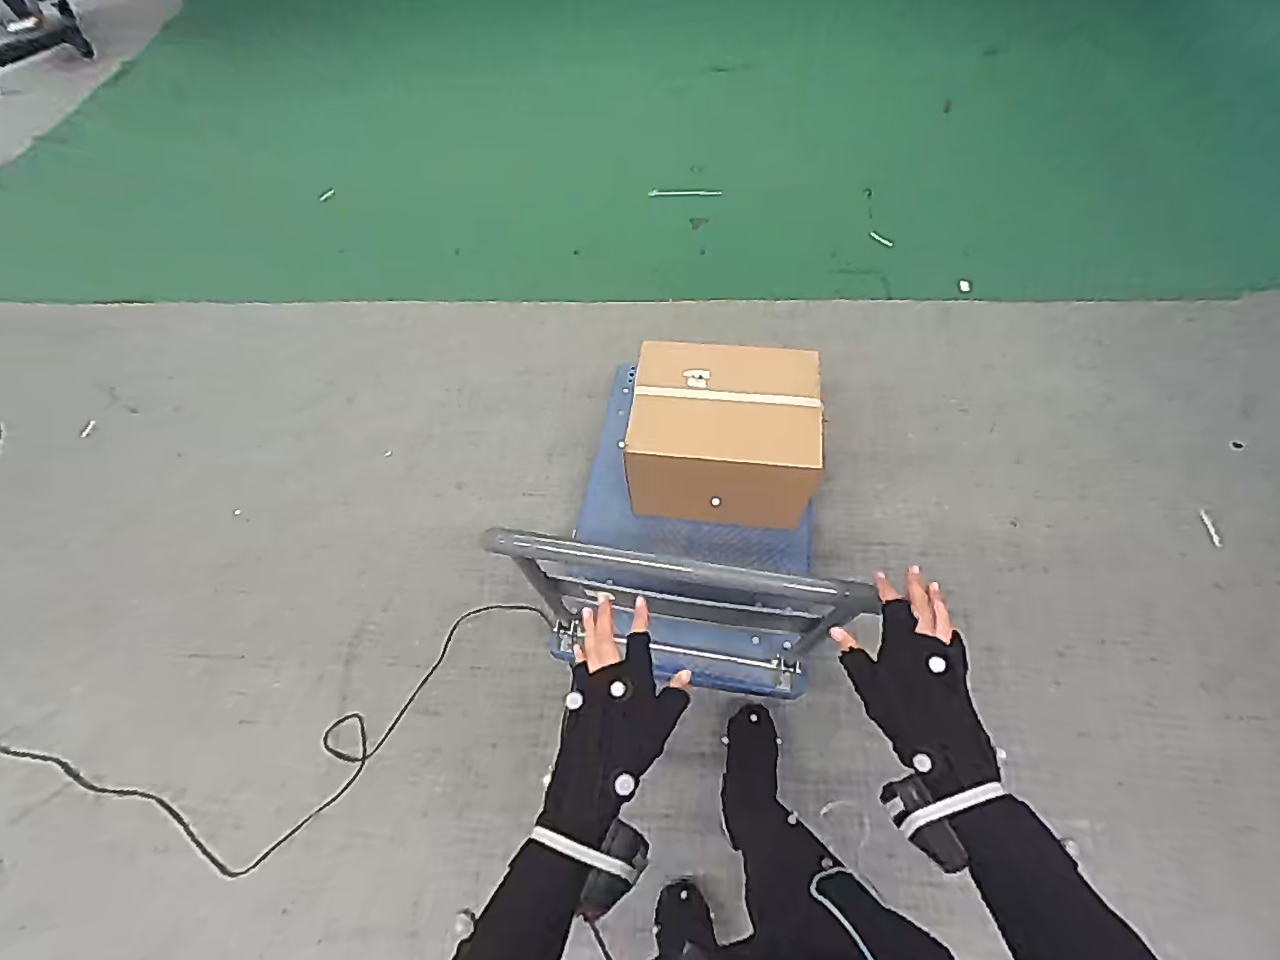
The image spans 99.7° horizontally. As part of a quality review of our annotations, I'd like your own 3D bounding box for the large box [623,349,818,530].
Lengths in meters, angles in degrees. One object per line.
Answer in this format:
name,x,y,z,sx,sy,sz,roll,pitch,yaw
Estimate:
large box,0.192,-0.090,1.304,0.408,0.320,0.320,5,60,8
